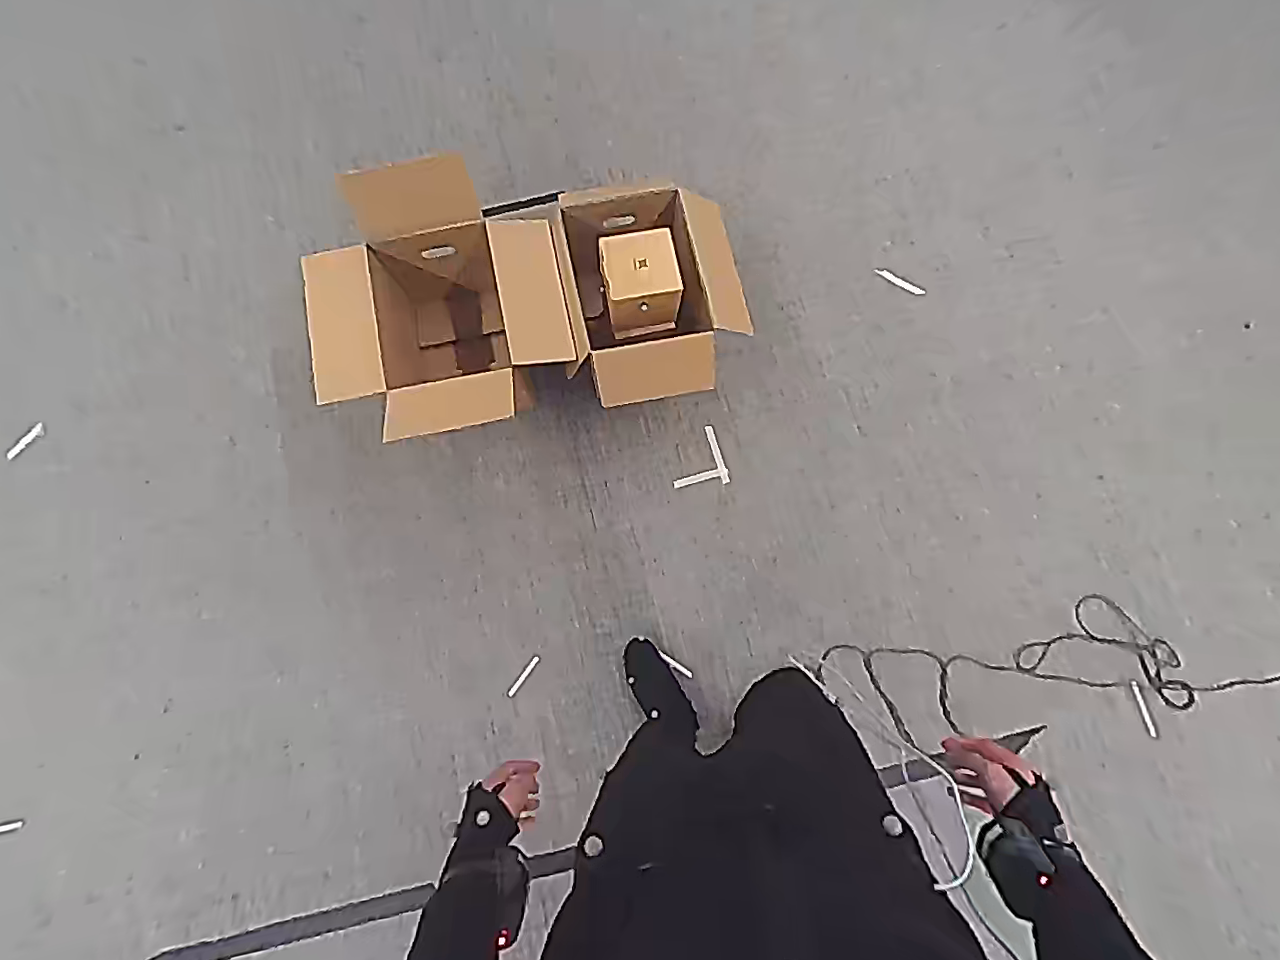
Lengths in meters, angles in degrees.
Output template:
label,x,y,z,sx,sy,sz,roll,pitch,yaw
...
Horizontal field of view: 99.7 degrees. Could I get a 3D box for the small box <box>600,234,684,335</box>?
label,x,y,z,sx,sy,sz,roll,pitch,yaw
small box,0.002,-0.485,1.359,0.179,0.176,0.168,-11,81,-3
